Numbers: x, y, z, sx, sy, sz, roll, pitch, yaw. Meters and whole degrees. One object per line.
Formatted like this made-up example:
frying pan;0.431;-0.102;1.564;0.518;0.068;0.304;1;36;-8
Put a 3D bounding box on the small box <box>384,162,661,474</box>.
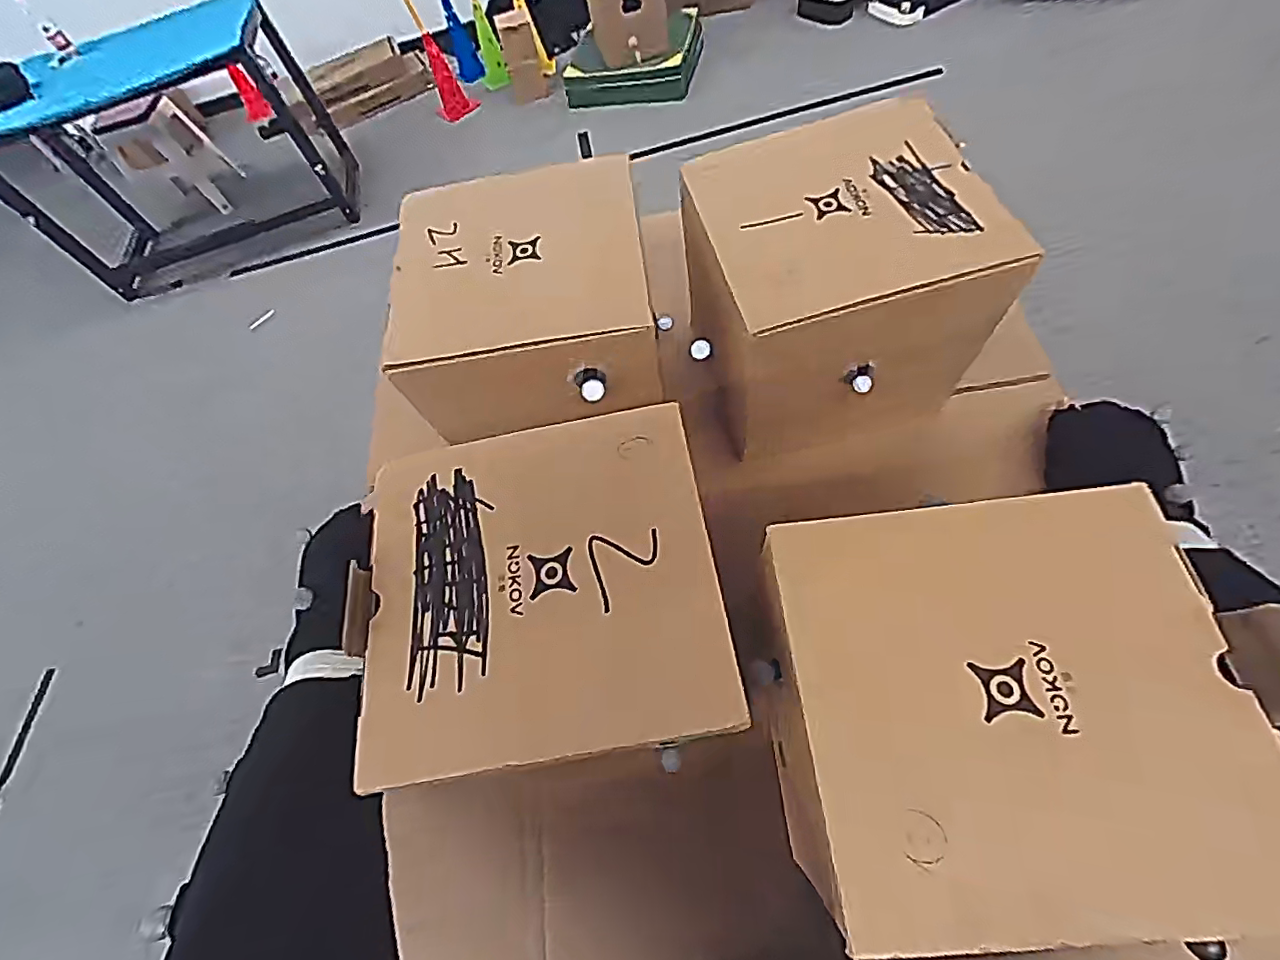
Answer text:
small box;-0.078;-0.120;0.450;0.179;0.176;0.168;-9;64;5
